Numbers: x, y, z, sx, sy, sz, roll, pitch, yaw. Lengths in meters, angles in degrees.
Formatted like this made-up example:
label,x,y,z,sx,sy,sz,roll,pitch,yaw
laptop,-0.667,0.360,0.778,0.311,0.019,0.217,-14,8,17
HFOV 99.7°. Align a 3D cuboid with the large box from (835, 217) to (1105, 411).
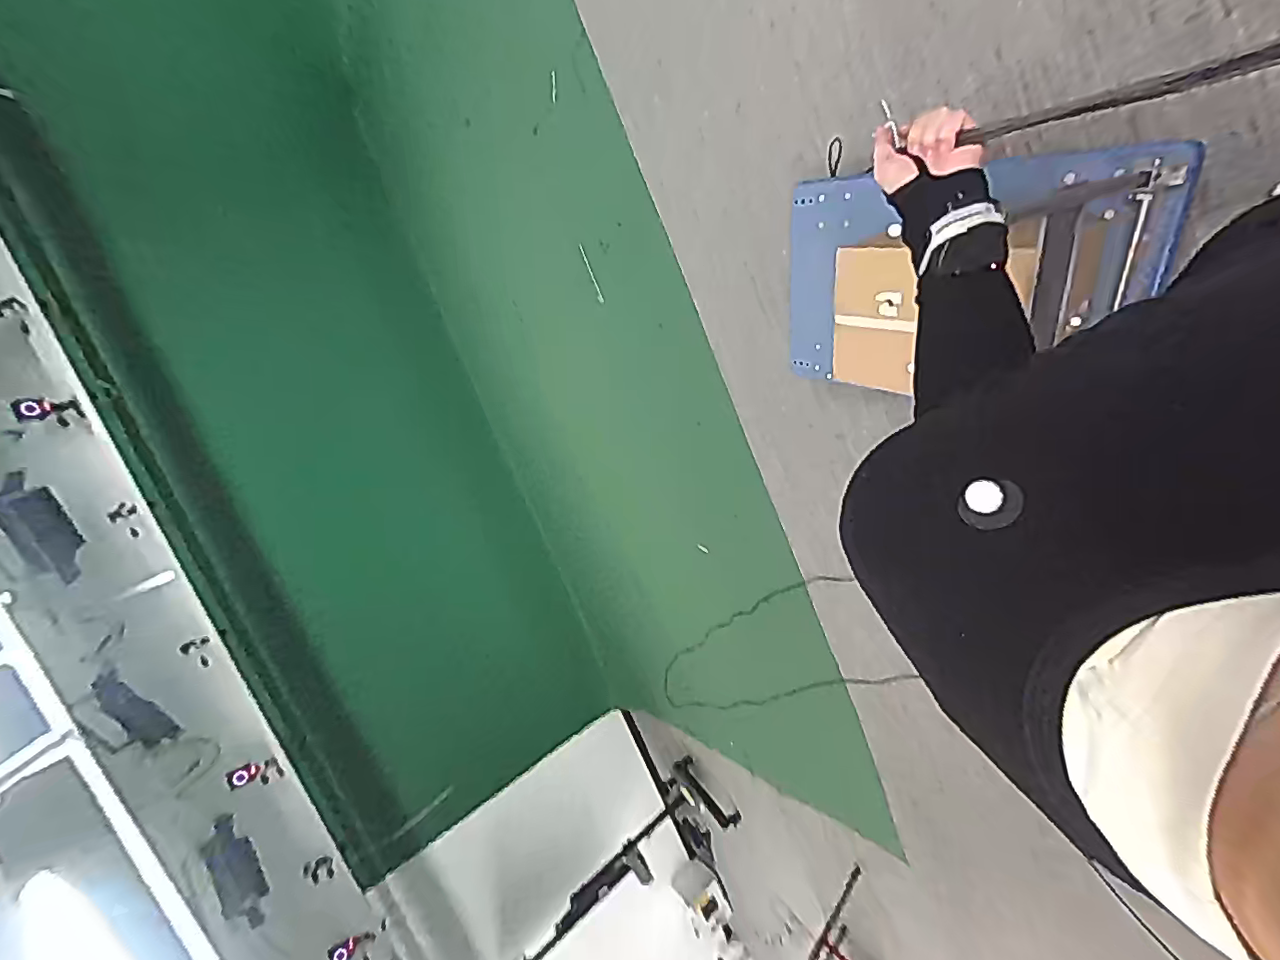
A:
label,x,y,z,sx,sy,sz,roll,pitch,yaw
large box,0.701,-0.382,1.199,0.408,0.320,0.320,28,135,47
